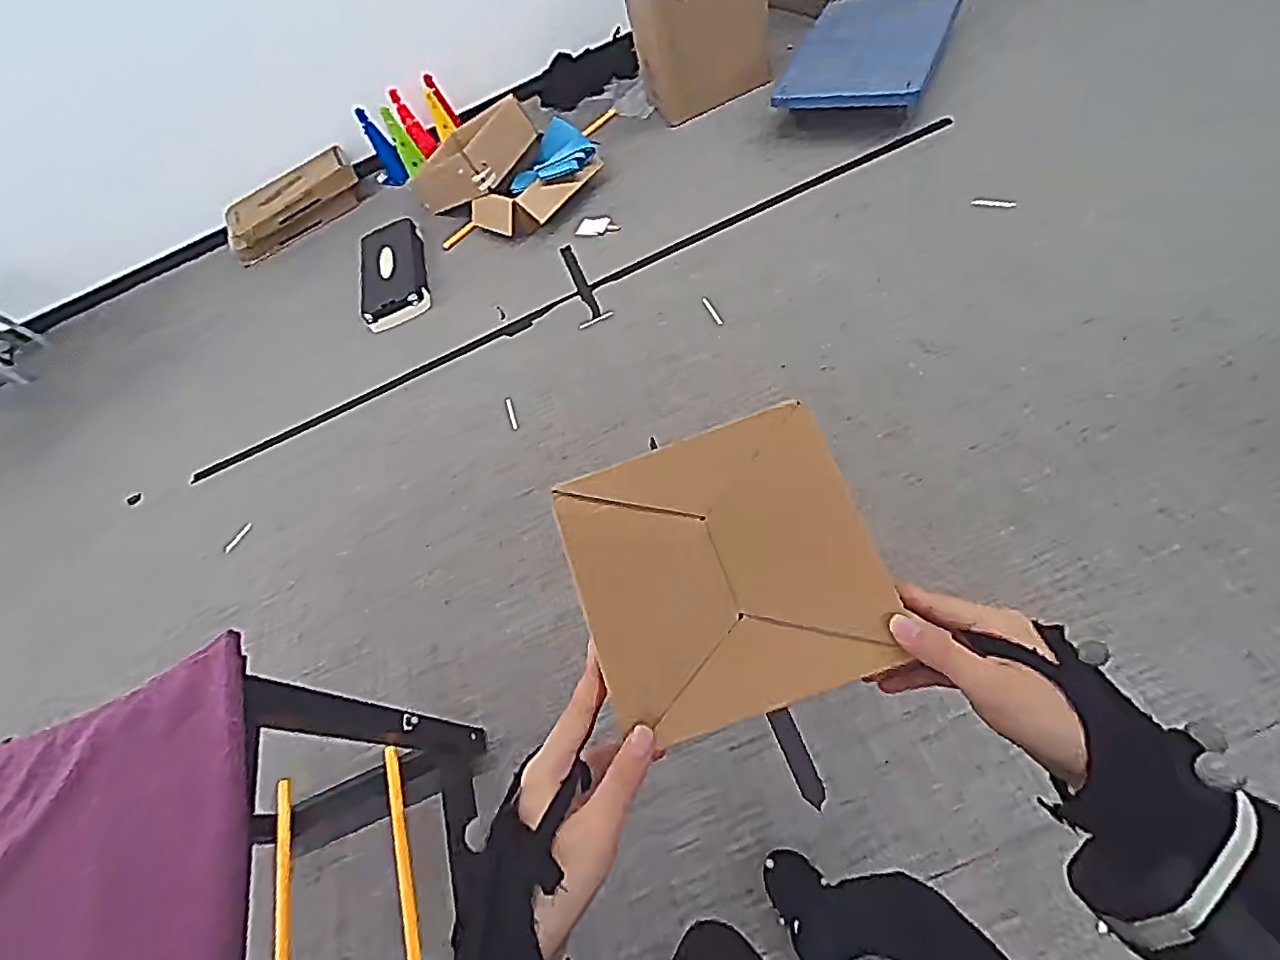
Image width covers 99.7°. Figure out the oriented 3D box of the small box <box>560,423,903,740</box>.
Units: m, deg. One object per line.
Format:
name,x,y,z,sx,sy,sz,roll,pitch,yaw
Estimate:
small box,0.055,0.077,0.403,0.179,0.176,0.168,-19,73,0
